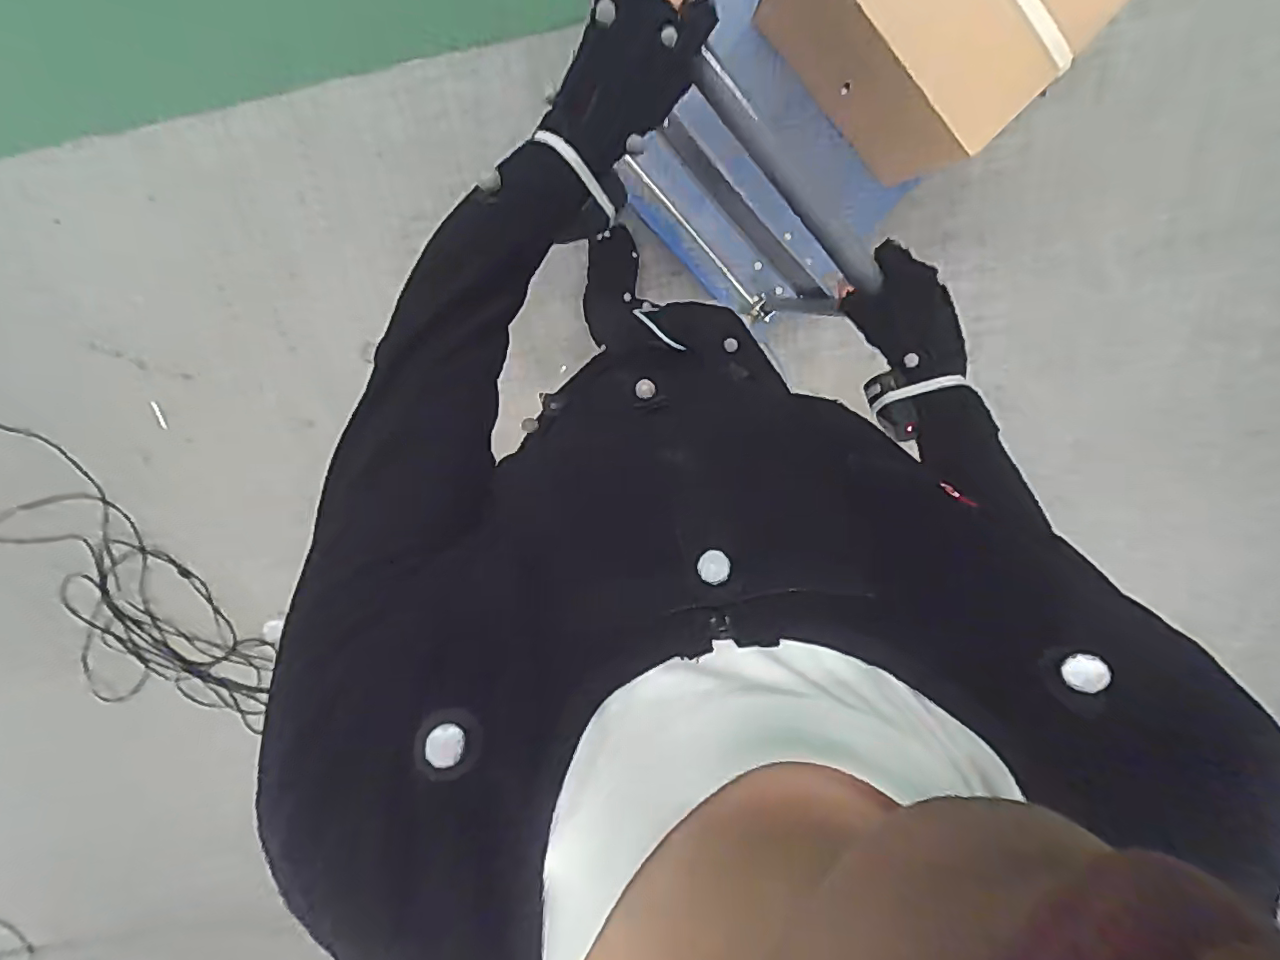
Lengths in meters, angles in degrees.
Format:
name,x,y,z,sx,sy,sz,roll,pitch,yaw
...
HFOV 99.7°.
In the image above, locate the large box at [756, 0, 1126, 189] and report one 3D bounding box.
name,x,y,z,sx,sy,sz,roll,pitch,yaw
large box,0.460,-0.765,0.883,0.408,0.320,0.320,41,104,-13
